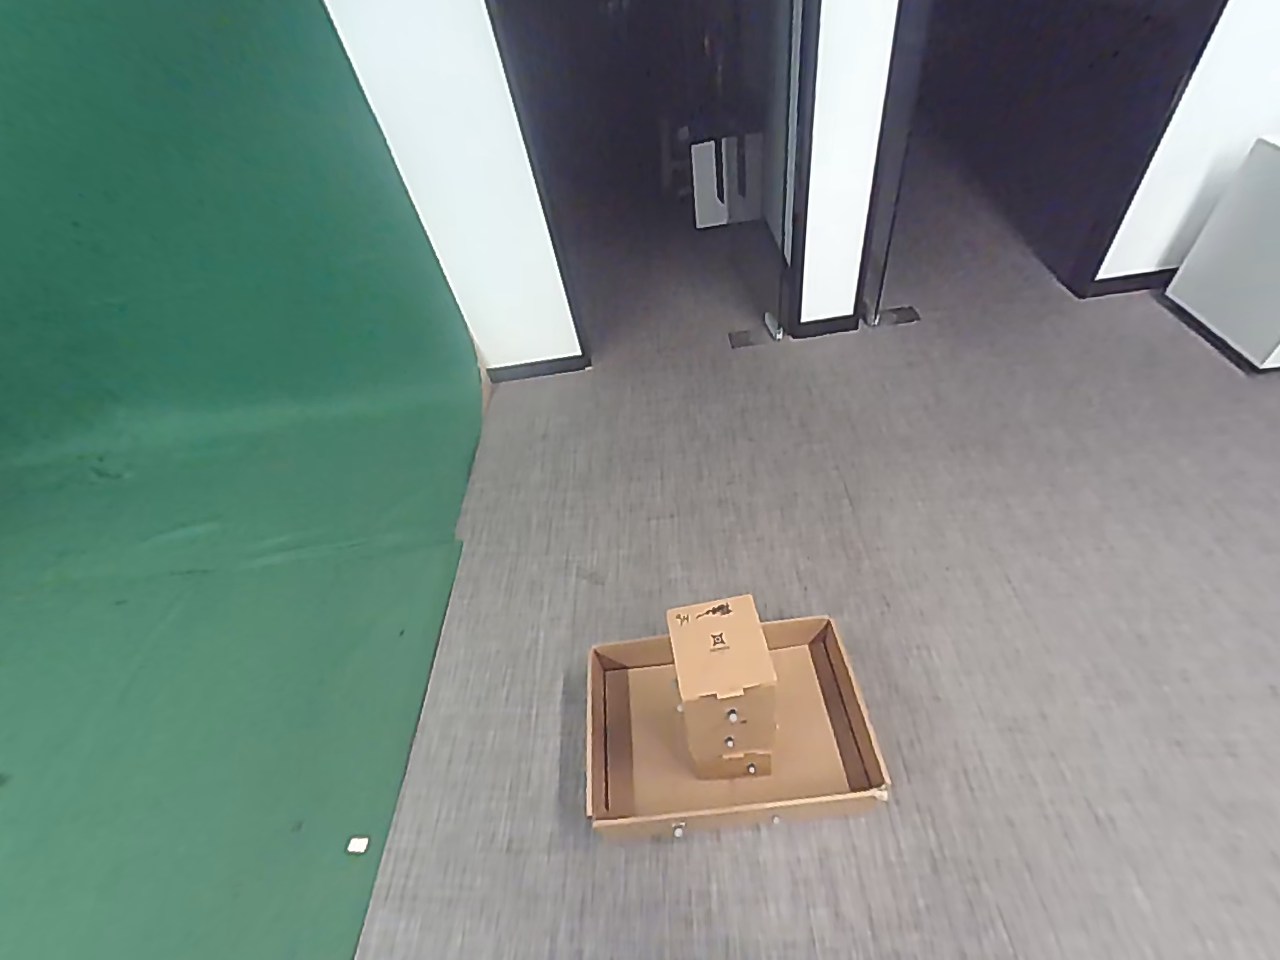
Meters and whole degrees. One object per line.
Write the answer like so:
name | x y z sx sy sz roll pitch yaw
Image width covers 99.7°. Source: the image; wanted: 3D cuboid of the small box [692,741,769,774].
small box | 0.202 0.567 1.253 0.168 0.176 0.179 -7 45 5

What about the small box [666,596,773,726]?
small box | 0.150 0.347 1.017 0.168 0.176 0.179 -11 47 2

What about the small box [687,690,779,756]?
small box | 0.179 0.458 1.133 0.179 0.176 0.168 -10 47 1
